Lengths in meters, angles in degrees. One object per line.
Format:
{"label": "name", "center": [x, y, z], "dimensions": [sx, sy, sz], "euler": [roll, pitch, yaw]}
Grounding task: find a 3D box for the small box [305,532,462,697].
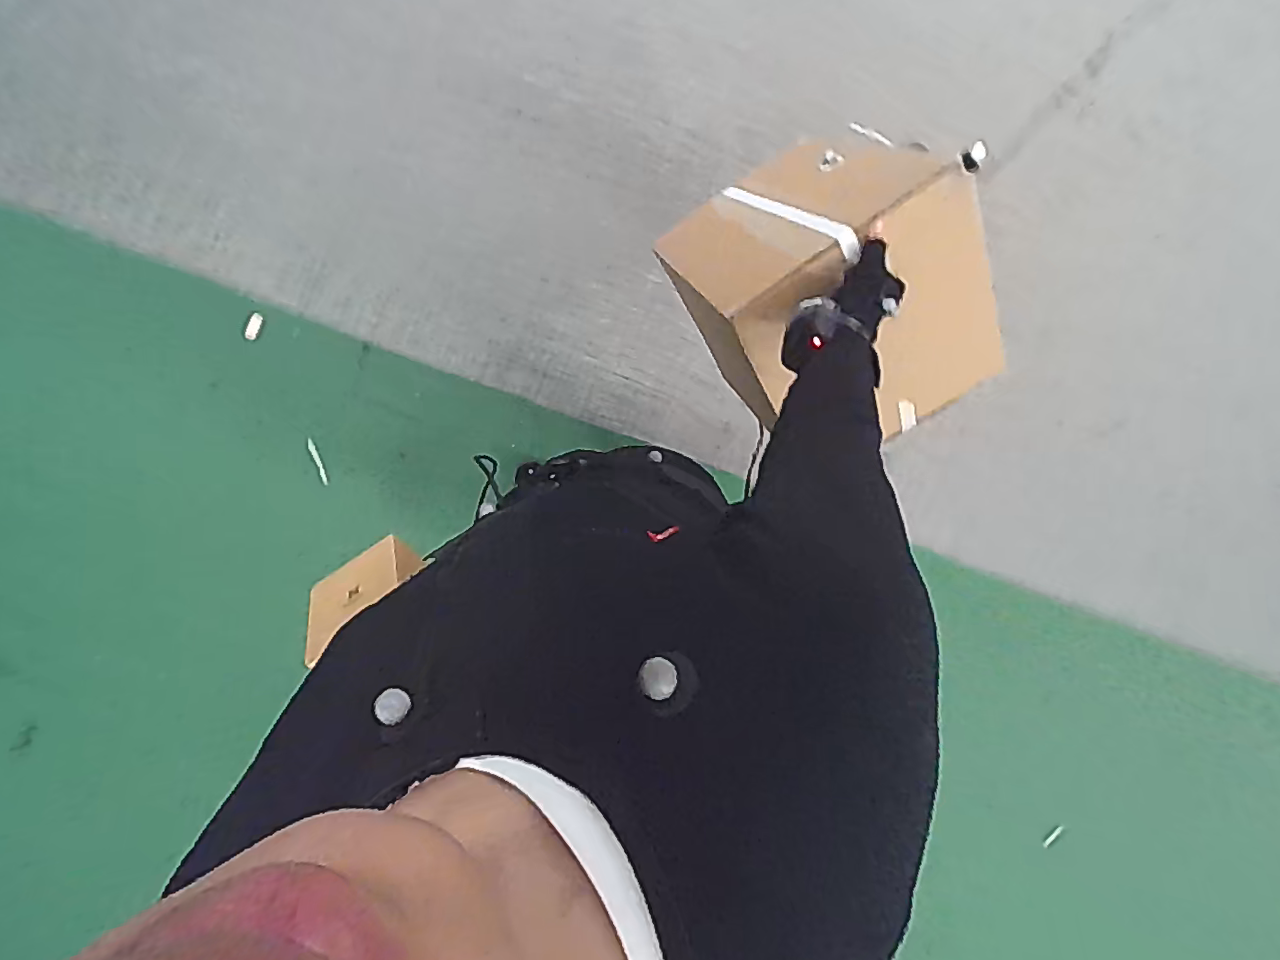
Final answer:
{"label": "small box", "center": [-0.429, 0.230, 0.919], "dimensions": [0.168, 0.179, 0.176], "euler": [-34, 131, -4]}
